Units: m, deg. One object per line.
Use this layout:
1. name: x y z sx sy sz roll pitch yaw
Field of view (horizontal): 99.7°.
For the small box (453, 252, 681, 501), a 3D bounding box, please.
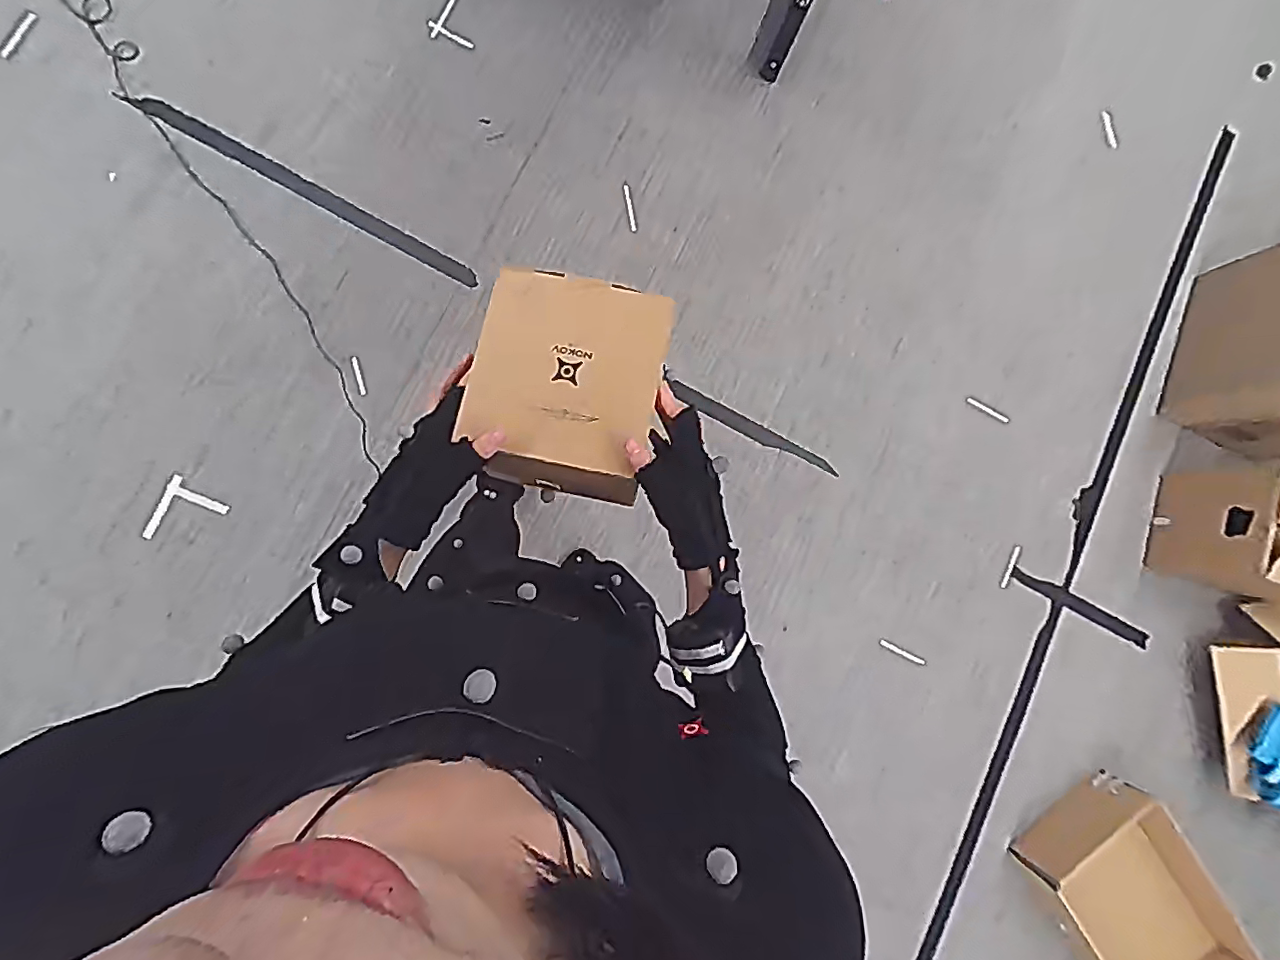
1. small box: -0.065 -0.089 0.544 0.168 0.176 0.179 12 79 -1
